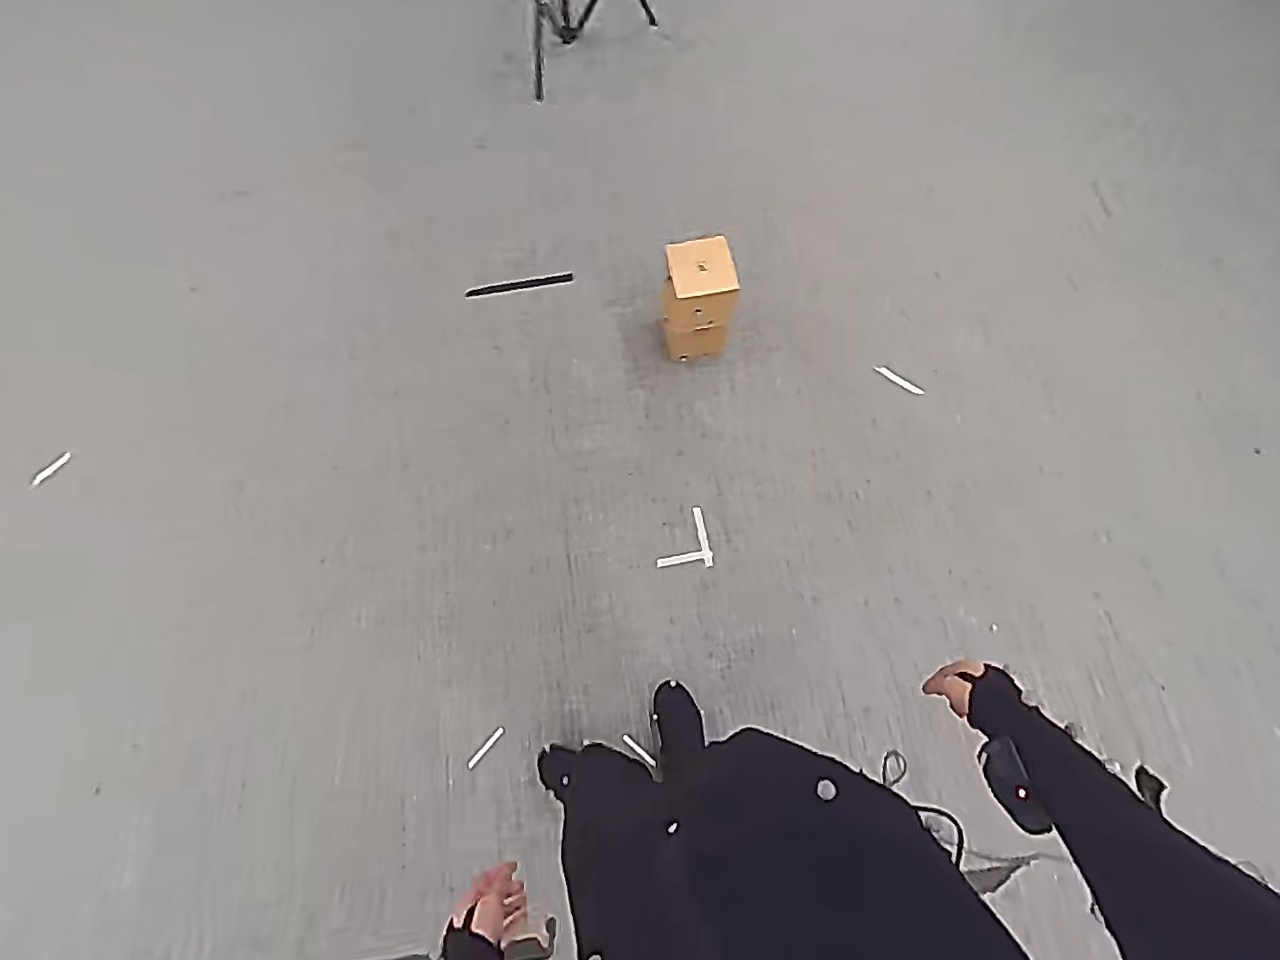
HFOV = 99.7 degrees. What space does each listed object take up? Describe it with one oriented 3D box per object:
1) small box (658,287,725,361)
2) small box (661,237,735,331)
[{"bbox_3d":[0.152,-0.480,1.647,0.168,0.176,0.179,-11,72,-3],"label":"small box"},{"bbox_3d":[0.153,-0.530,1.492,0.168,0.176,0.179,-11,72,-3],"label":"small box"}]
